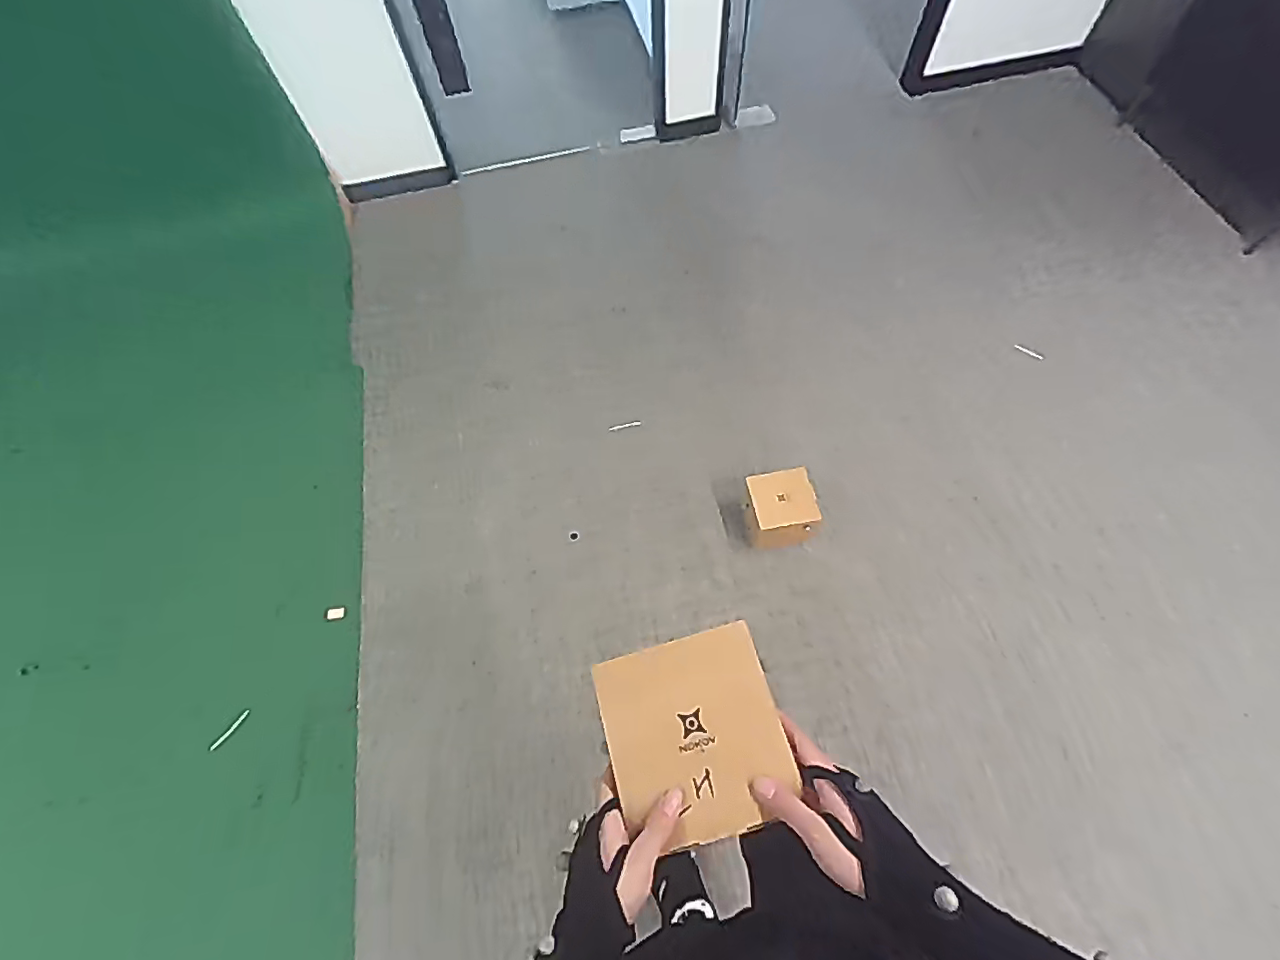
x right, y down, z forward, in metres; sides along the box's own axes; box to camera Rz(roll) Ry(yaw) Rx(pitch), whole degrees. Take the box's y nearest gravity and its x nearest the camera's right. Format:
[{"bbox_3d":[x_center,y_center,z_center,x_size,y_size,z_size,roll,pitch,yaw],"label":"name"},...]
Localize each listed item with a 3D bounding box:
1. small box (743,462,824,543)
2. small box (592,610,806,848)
[{"bbox_3d":[0.402,0.069,1.554,0.179,0.176,0.168,-10,64,-2],"label":"small box"},{"bbox_3d":[0.057,0.259,0.577,0.168,0.176,0.179,-16,65,1],"label":"small box"}]
